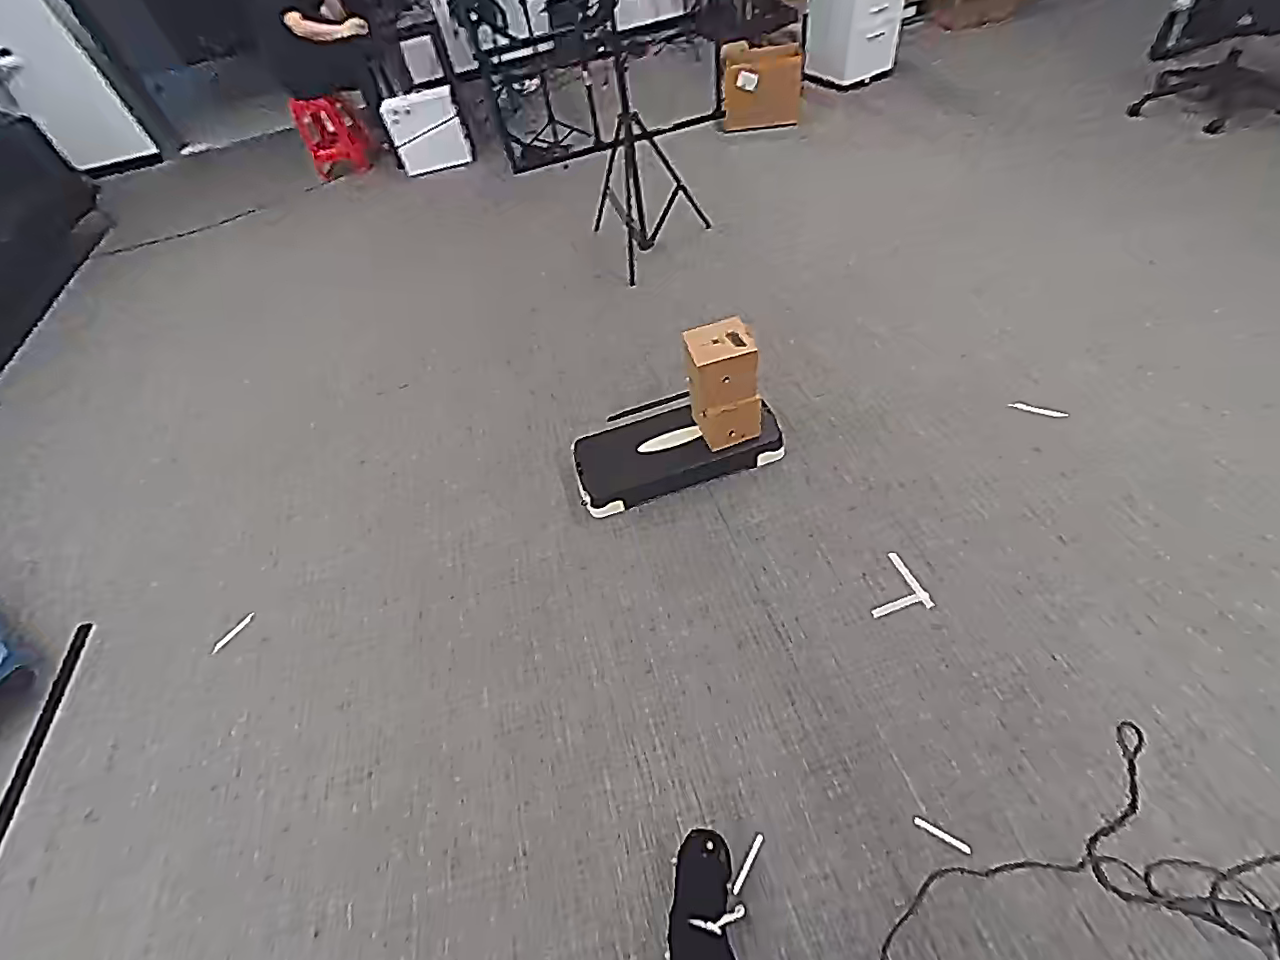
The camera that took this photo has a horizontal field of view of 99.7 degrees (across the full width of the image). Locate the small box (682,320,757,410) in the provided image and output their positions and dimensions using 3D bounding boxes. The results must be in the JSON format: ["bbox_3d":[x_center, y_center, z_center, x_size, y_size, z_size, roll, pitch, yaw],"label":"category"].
[{"bbox_3d":[0.230,-0.331,1.574,0.179,0.176,0.168,-16,51,-1],"label":"small box"}]

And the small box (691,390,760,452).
[{"bbox_3d":[0.262,-0.220,1.692,0.168,0.176,0.179,-19,51,-5],"label":"small box"}]
